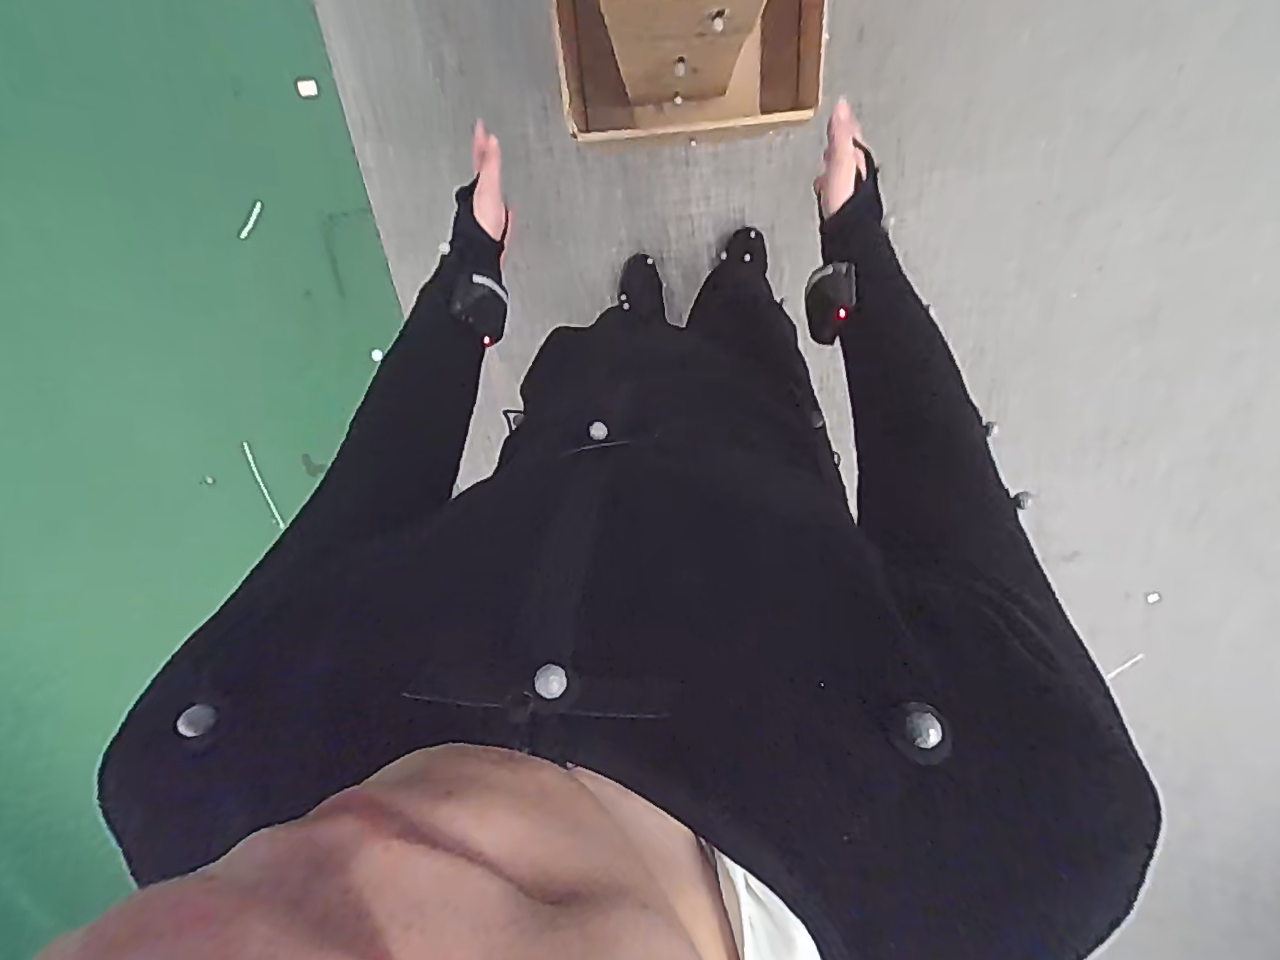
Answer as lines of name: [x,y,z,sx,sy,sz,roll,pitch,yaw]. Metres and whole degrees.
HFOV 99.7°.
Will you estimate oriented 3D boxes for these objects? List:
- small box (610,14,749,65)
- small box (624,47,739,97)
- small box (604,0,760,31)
small box: [0.048,-0.635,0.665,0.168,0.176,0.179,-2,115,4]
small box: [0.059,-0.705,0.811,0.168,0.176,0.179,-2,114,5]
small box: [0.043,-0.561,0.518,0.168,0.176,0.179,-1,115,4]
